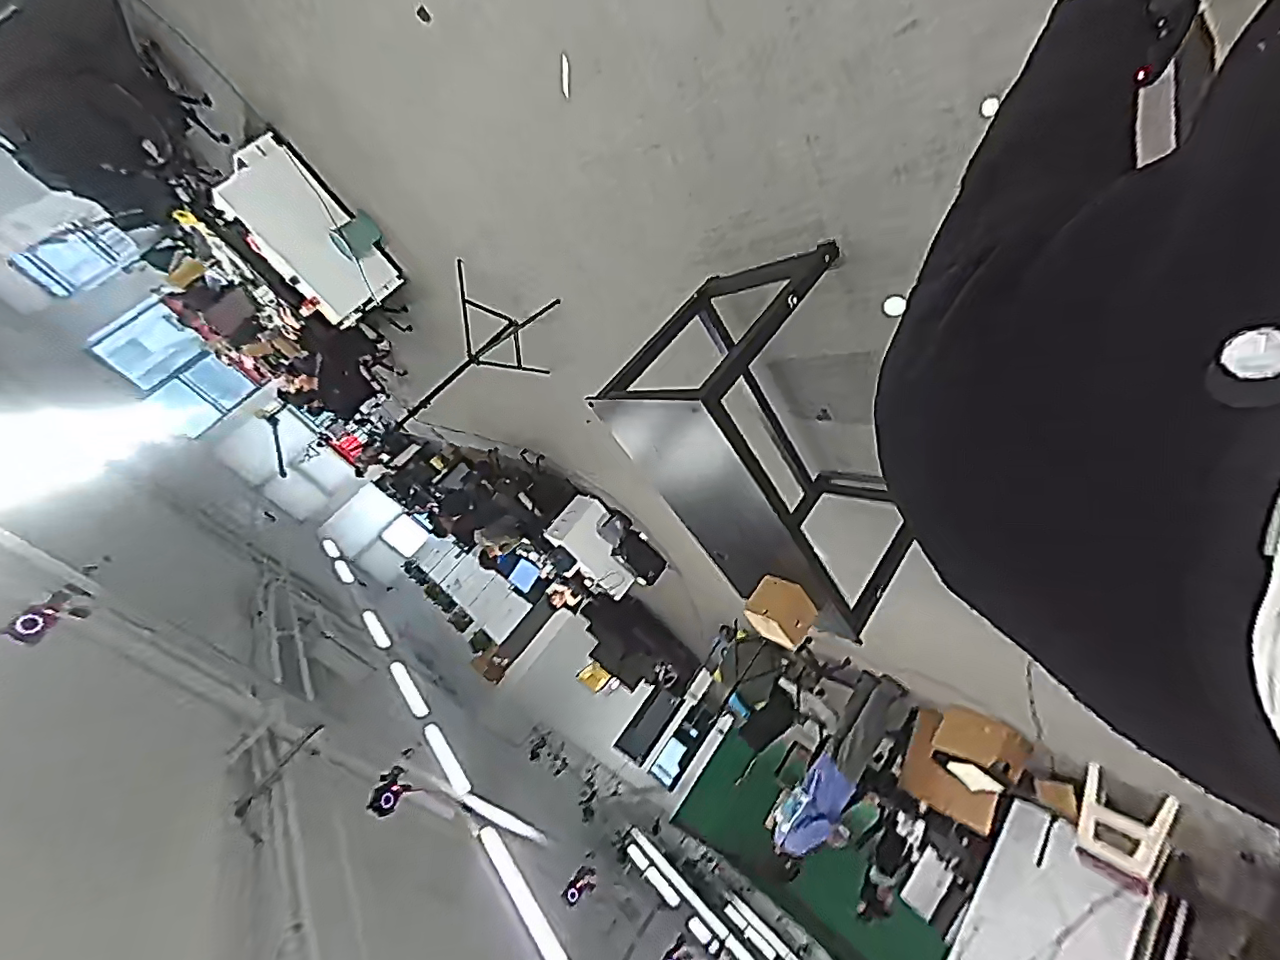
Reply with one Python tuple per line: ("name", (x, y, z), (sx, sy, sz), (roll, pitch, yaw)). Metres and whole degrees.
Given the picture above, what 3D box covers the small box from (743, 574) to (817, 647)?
("small box", (0.521, 0.476, 1.998), (0.179, 0.176, 0.168), (50, 159, -28))
